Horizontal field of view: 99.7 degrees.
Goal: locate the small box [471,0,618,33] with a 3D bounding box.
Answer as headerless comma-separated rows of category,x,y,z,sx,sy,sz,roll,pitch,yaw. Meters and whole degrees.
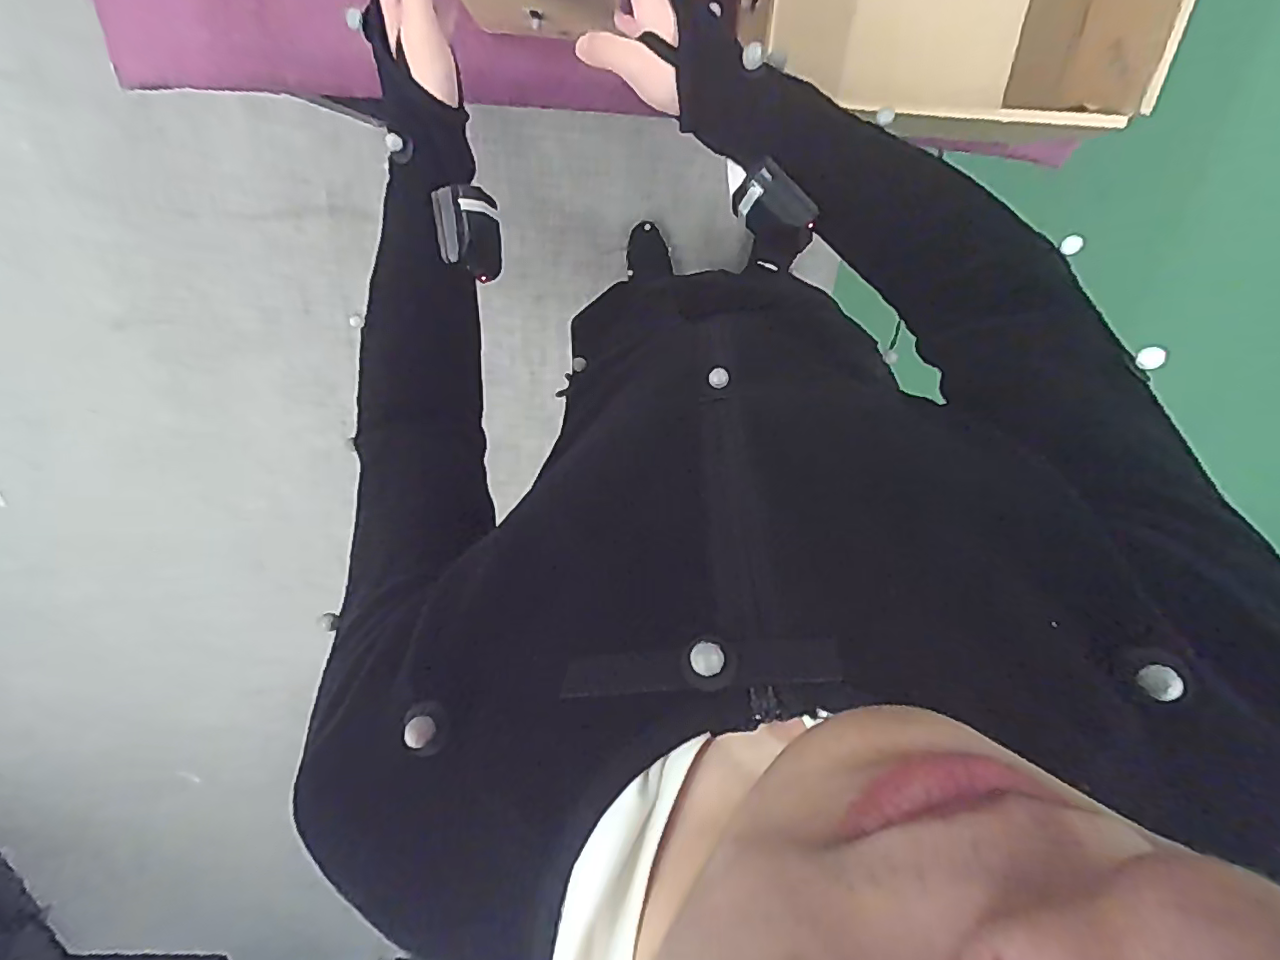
small box,-0.102,-0.583,0.541,0.168,0.176,0.179,3,116,-4
